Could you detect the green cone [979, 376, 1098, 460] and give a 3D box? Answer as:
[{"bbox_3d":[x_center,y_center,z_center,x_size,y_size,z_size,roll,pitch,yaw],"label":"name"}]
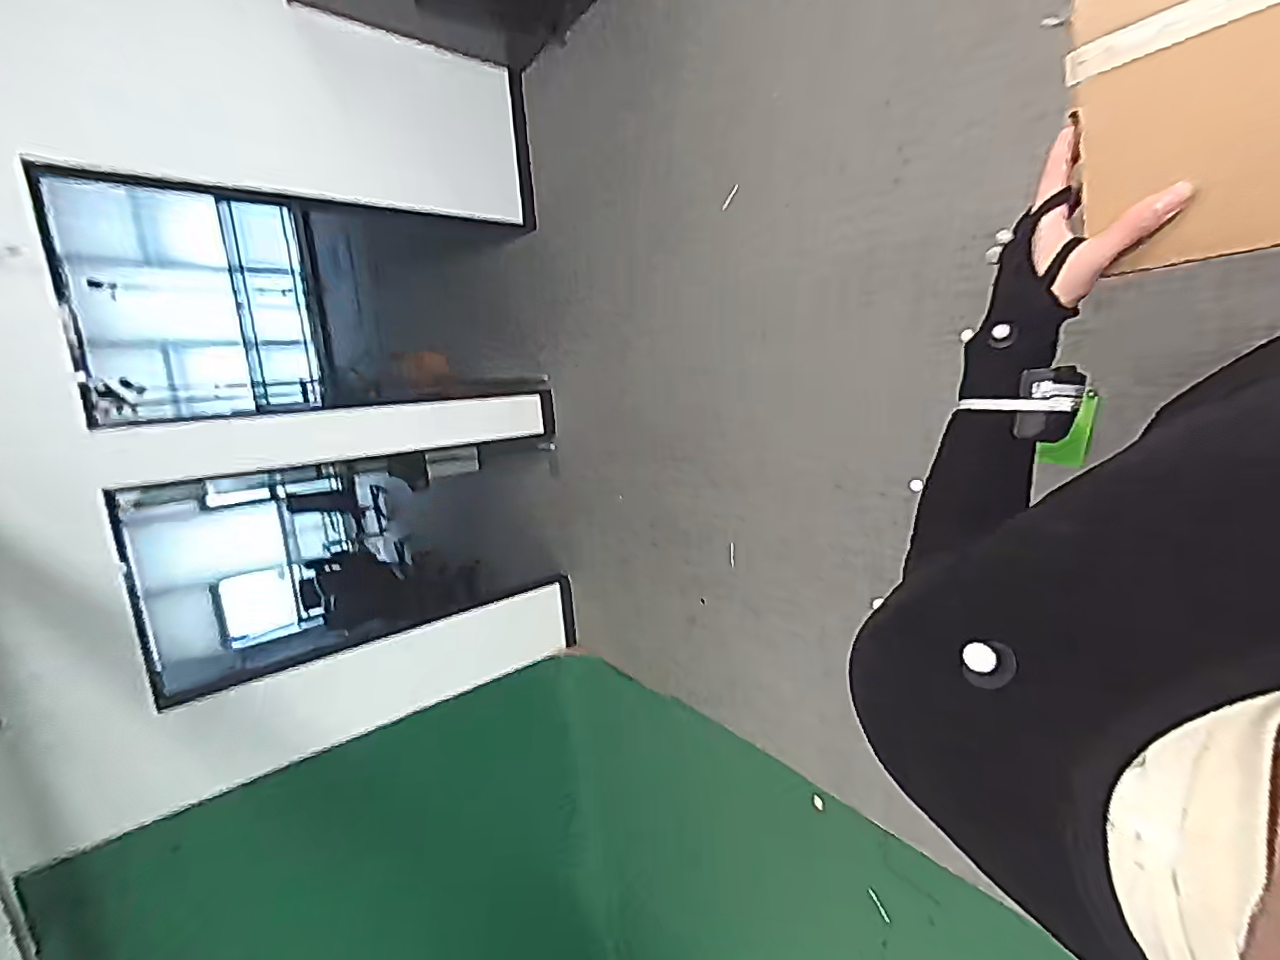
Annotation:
[{"bbox_3d":[0.890,-0.126,1.273,0.200,0.368,0.202,18,116,49],"label":"green cone"}]
